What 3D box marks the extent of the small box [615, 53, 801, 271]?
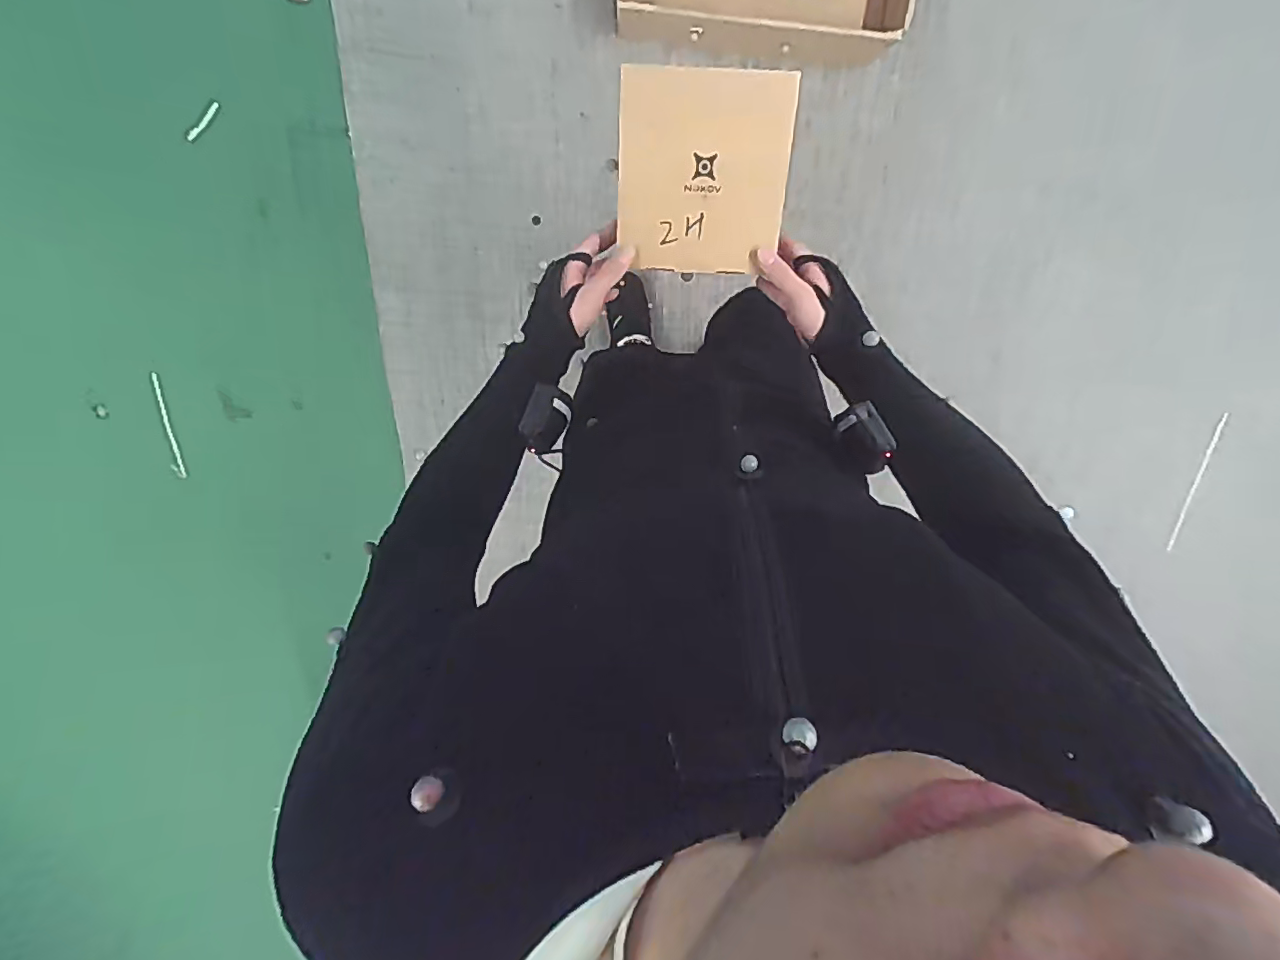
[{"bbox_3d":[0.062,-0.330,0.591,0.168,0.176,0.179,3,114,1],"label":"small box"}]
